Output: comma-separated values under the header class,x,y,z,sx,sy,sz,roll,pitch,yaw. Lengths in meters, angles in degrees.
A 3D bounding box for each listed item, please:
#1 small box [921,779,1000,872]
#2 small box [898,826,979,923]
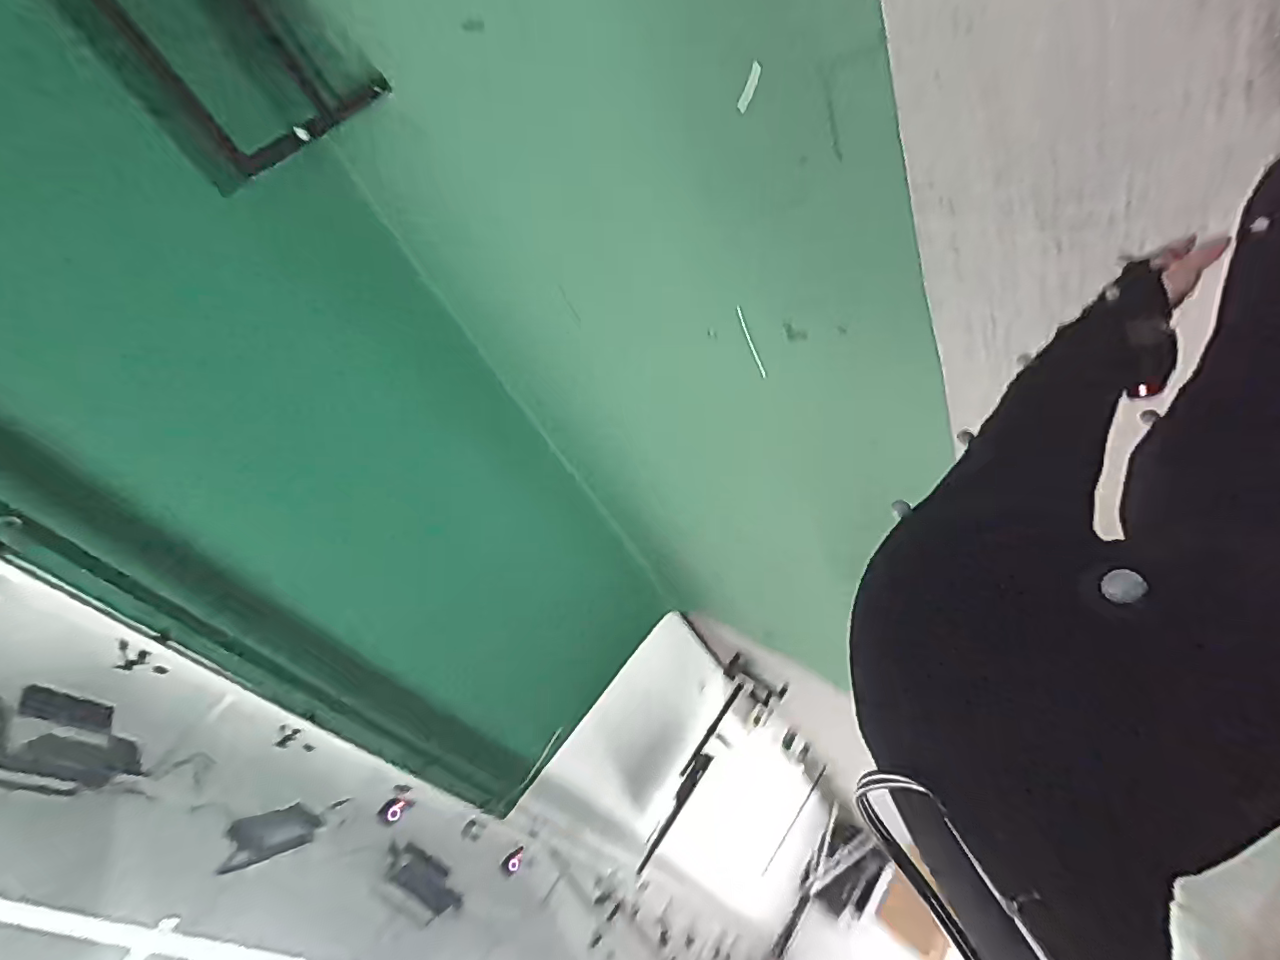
class,x,y,z,sx,sy,sz,roll,pitch,yaw
small box,1.052,1.124,1.768,0.168,0.176,0.179,15,148,49
small box,0.950,1.241,1.712,0.168,0.176,0.179,18,150,48
